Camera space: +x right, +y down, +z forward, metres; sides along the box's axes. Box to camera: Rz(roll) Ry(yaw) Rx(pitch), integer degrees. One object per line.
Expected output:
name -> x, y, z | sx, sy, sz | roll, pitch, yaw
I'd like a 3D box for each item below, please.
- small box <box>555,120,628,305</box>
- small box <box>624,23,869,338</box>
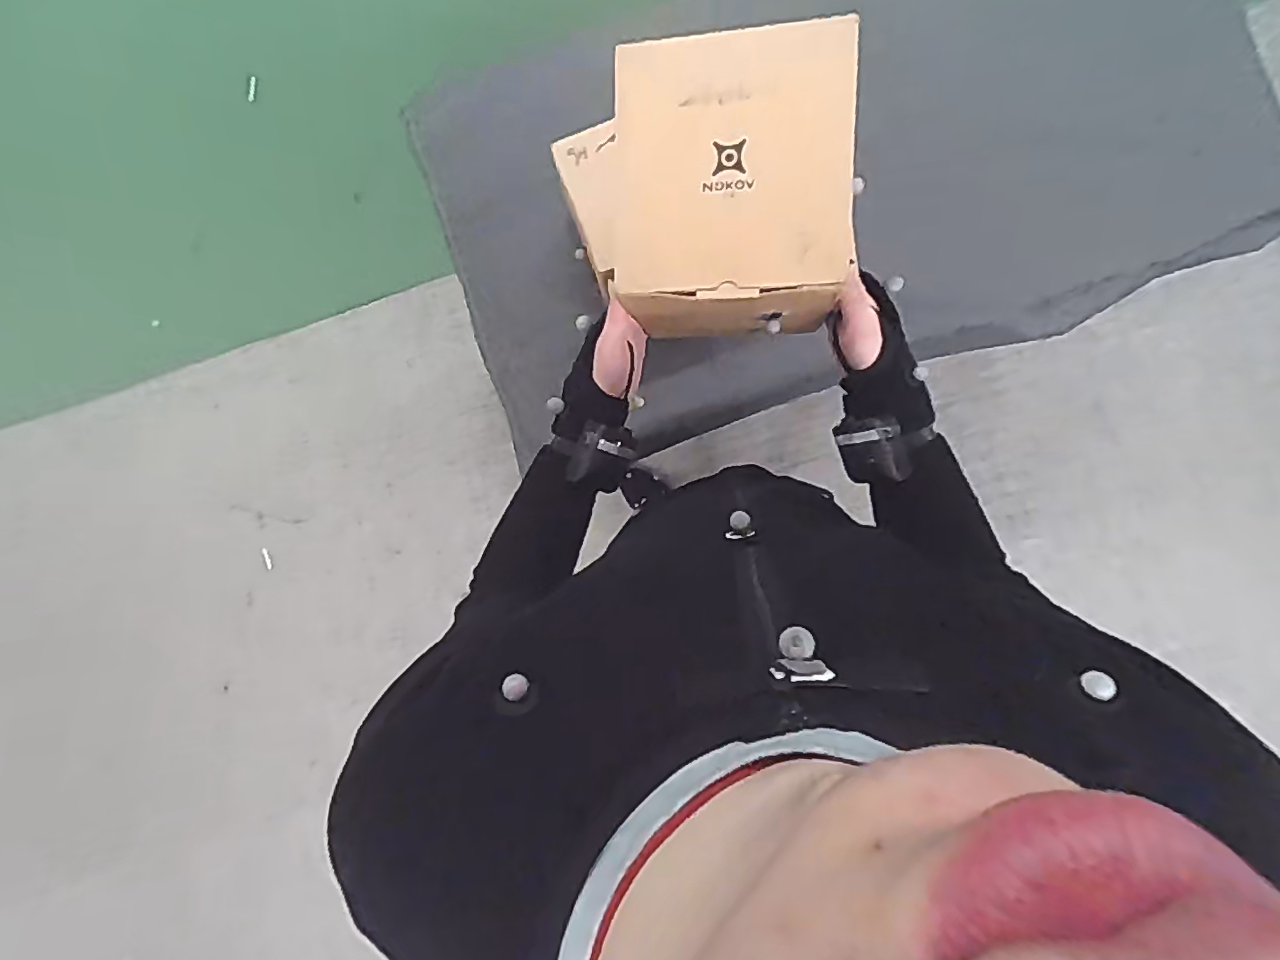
small box -> 0.002, -0.360, 0.748 | 0.168, 0.176, 0.179 | -21, 91, 1
small box -> 0.084, -0.219, 0.452 | 0.168, 0.176, 0.179 | 0, 93, 10
